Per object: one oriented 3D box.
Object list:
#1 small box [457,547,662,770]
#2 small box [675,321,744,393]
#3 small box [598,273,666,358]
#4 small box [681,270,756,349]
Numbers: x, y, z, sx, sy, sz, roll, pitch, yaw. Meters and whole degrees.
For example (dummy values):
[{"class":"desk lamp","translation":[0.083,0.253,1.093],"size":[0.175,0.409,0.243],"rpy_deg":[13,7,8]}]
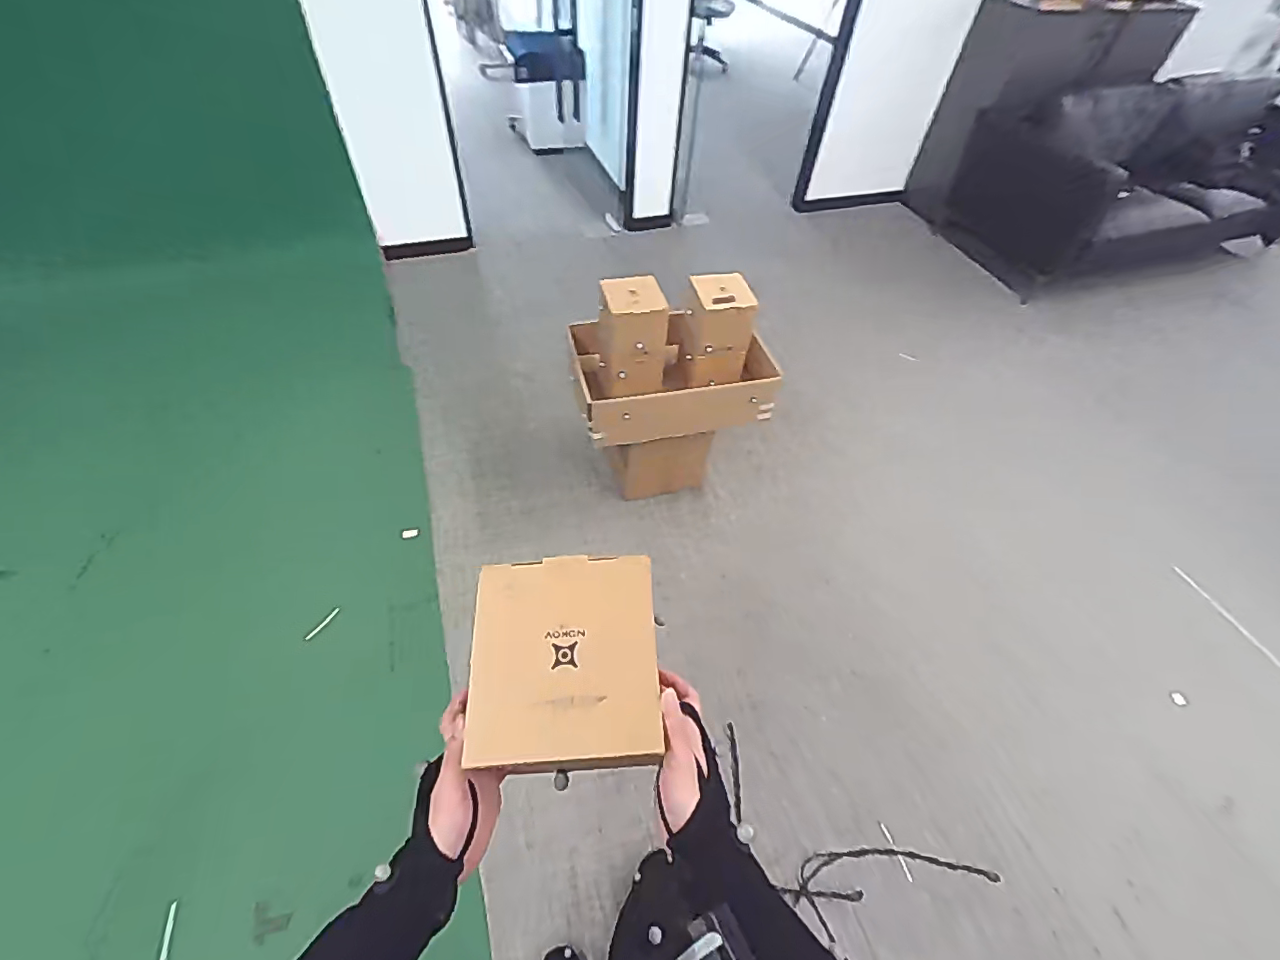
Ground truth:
[{"class":"small box","translation":[-0.067,0.182,0.539],"size":[0.168,0.176,0.179],"rpy_deg":[-3,59,-1]},{"class":"small box","translation":[0.220,-0.408,1.769],"size":[0.168,0.176,0.179],"rpy_deg":[-8,53,-11]},{"class":"small box","translation":[-0.031,-0.486,1.597],"size":[0.168,0.176,0.179],"rpy_deg":[-10,52,-12]},{"class":"small box","translation":[0.232,-0.511,1.642],"size":[0.168,0.176,0.179],"rpy_deg":[-8,52,-11]}]
